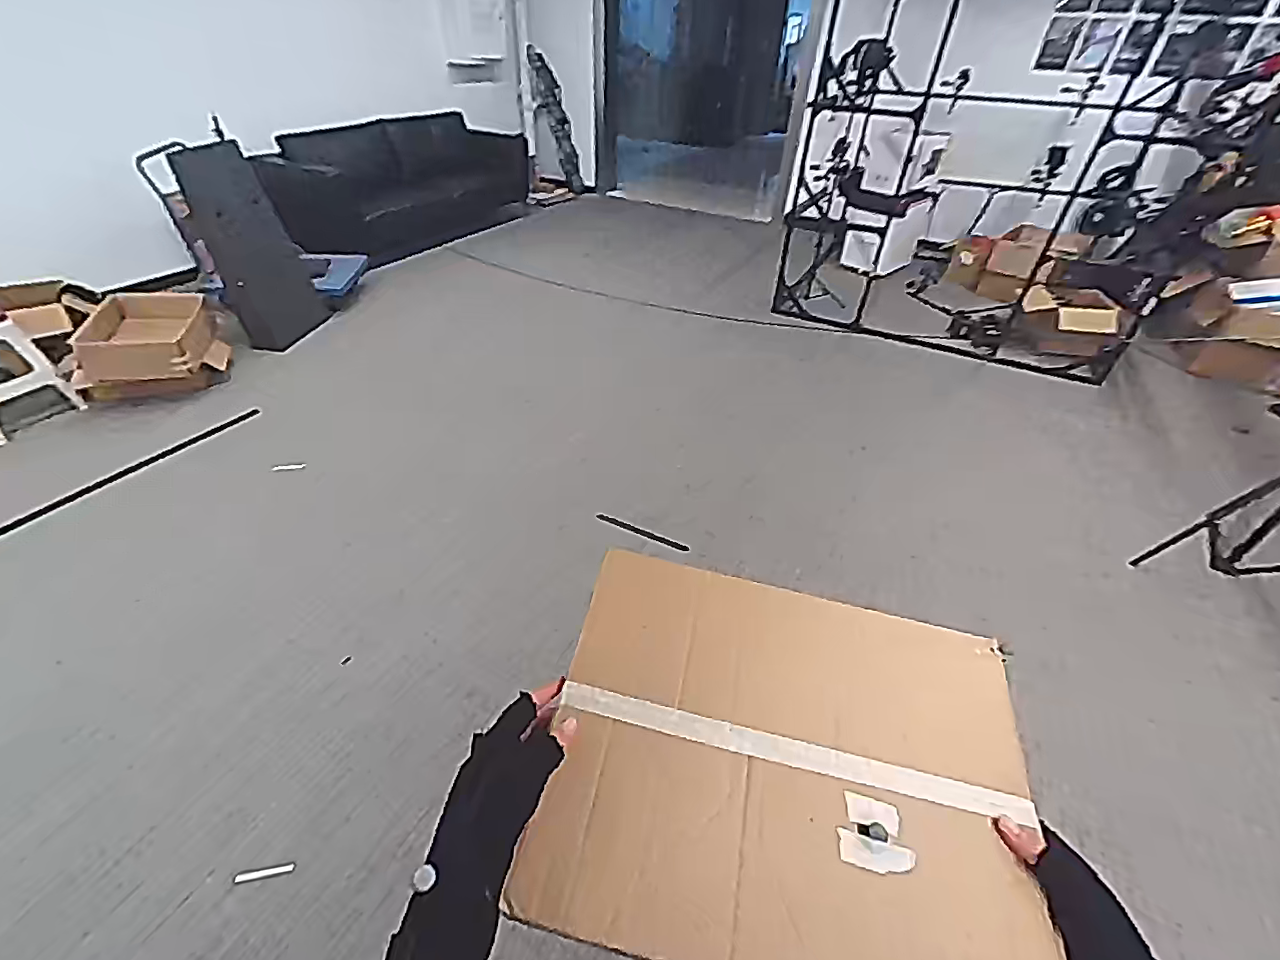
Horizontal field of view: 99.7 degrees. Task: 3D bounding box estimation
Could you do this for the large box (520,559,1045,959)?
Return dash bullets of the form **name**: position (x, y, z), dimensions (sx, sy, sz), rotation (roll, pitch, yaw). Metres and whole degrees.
- **large box**: position (0.118, 0.333, 0.596), dimensions (0.408, 0.320, 0.320), rotation (13, 52, 4)
